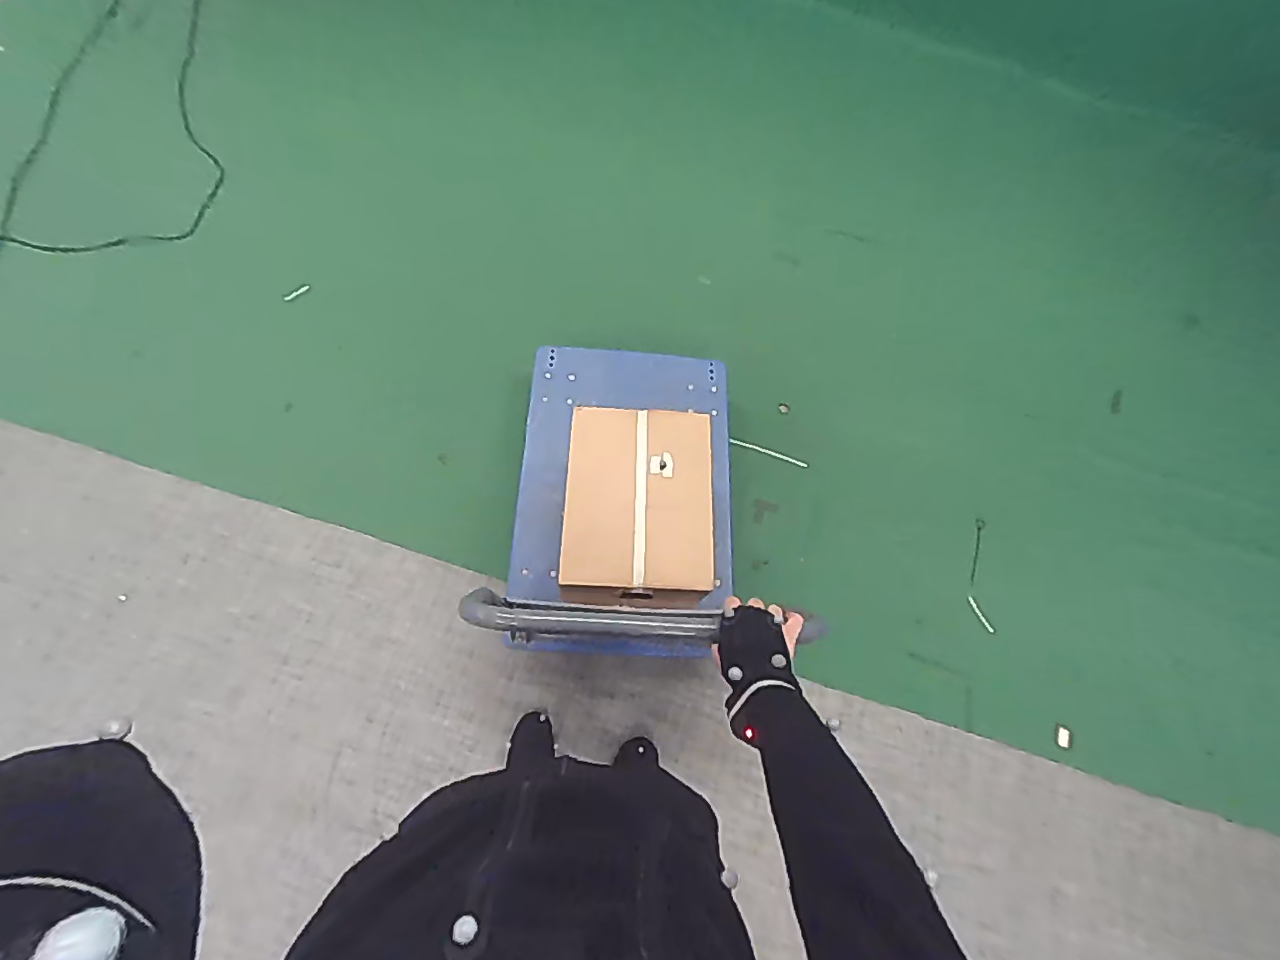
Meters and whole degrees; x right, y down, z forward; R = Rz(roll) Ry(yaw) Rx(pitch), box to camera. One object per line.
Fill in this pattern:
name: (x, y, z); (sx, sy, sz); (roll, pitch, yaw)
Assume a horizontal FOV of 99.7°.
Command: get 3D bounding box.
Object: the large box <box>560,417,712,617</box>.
large box: (-0.014, 0.105, 1.297); (0.320, 0.320, 0.408); (3, 67, -4)
